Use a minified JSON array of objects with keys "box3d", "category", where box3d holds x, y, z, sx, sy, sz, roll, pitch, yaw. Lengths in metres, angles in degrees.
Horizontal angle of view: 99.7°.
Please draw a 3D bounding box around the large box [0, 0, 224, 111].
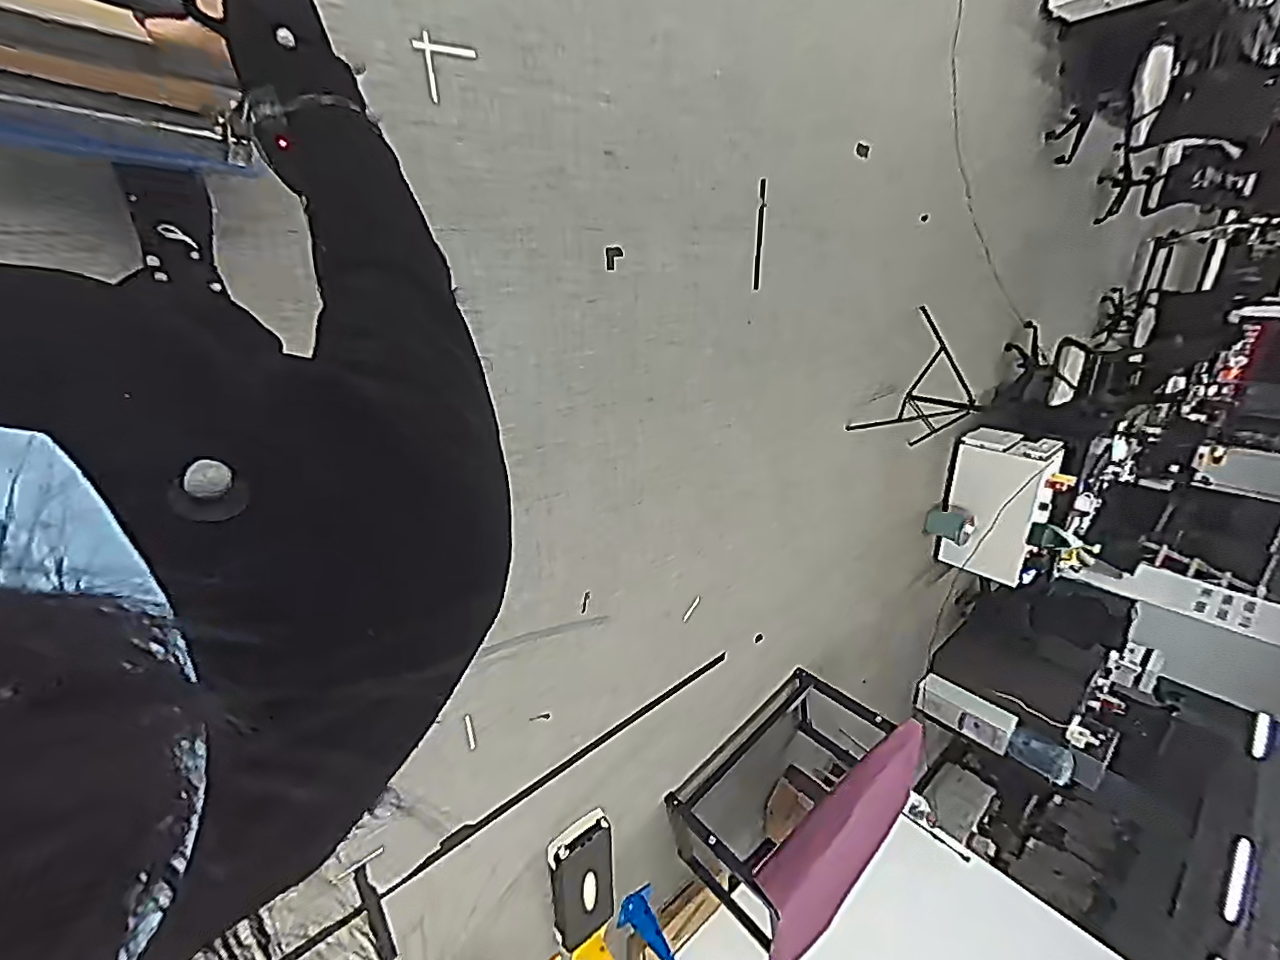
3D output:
[{"box3d":[-0.789,-0.693,0.642,0.408,0.320,0.320,-13,115,-40],"category":"large box"}]
